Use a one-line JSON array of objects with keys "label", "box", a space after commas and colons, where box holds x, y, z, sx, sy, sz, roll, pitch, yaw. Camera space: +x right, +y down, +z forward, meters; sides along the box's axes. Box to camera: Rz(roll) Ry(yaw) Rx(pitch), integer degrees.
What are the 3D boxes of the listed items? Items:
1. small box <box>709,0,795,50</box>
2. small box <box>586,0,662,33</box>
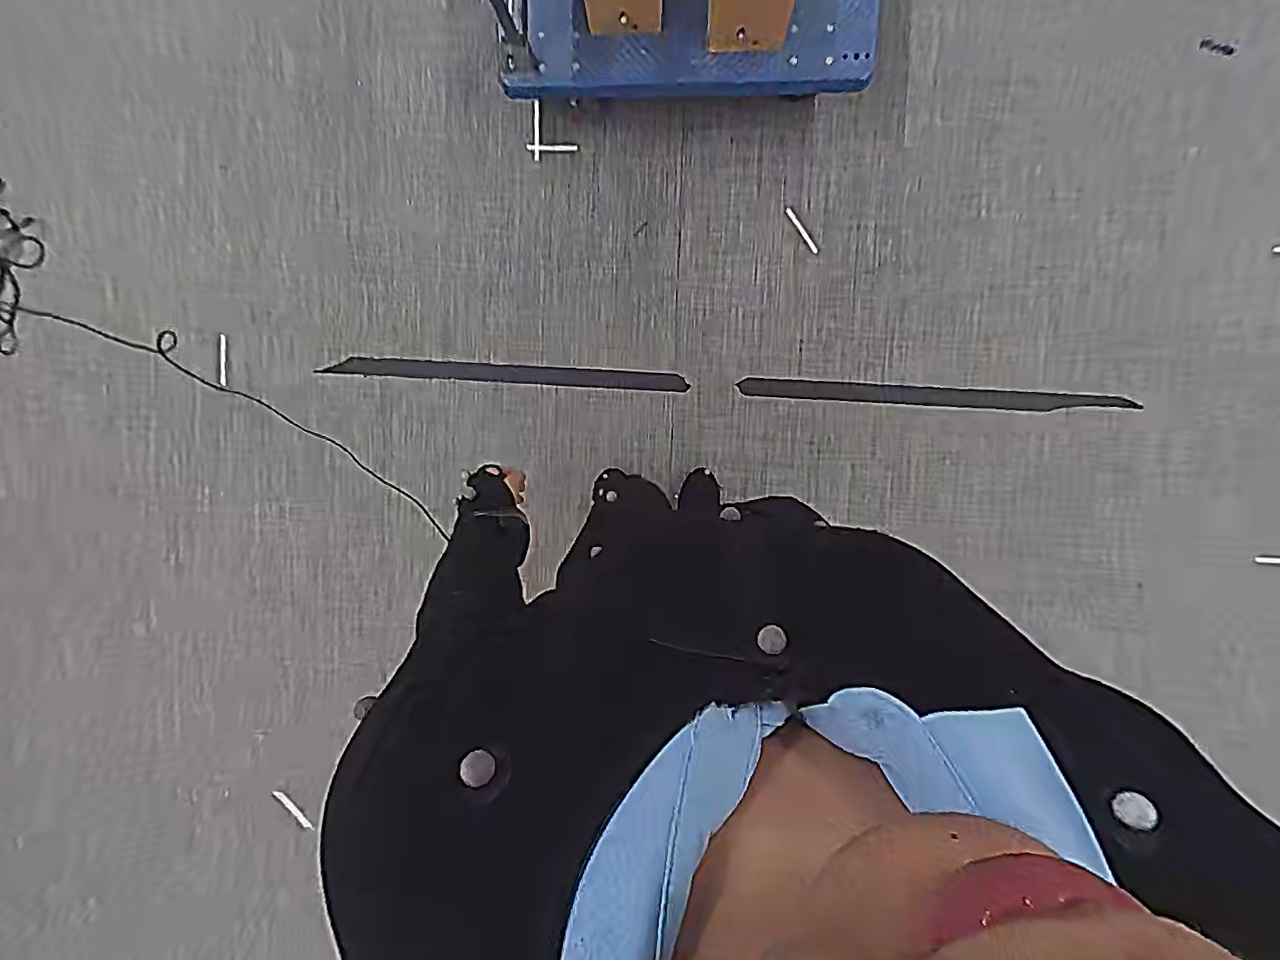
[{"label": "small box", "box": [0.235, -1.058, 1.139, 0.168, 0.176, 0.179, 1, 94, 3]}, {"label": "small box", "box": [-0.035, -1.102, 1.147, 0.168, 0.176, 0.179, 0, 94, 3]}]
